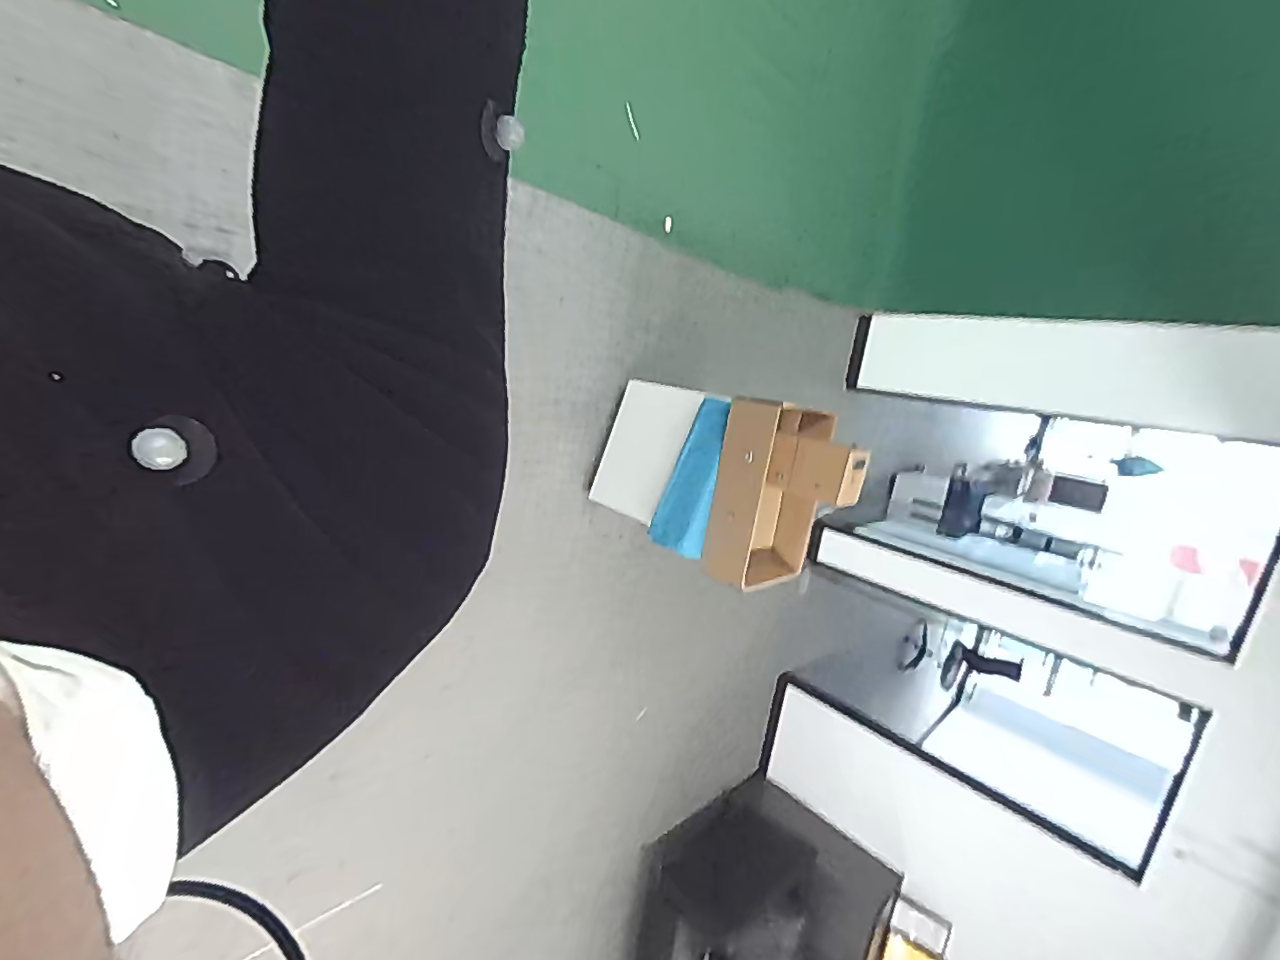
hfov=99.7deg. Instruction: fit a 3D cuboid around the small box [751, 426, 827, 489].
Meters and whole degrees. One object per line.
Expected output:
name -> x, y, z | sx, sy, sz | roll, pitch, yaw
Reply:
small box -> 0.493, -0.079, 1.799 | 0.168, 0.176, 0.179 | -3, 109, -46
